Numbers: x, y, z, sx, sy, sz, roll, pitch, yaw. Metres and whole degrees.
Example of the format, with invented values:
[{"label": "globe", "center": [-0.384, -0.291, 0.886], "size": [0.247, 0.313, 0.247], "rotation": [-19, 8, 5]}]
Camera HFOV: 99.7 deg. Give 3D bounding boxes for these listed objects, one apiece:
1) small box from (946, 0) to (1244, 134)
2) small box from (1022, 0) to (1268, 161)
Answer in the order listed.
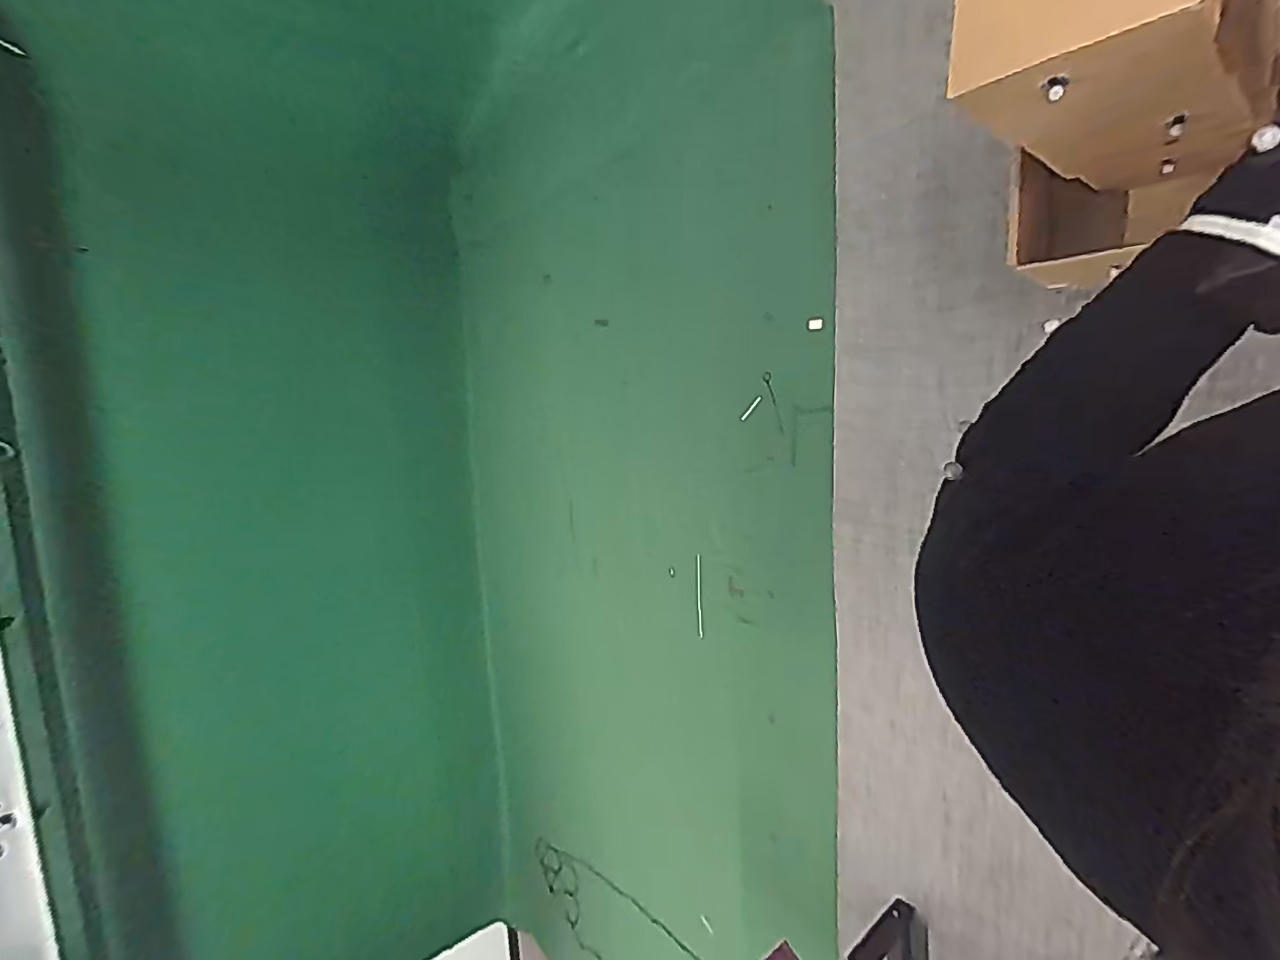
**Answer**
[{"label": "small box", "center": [0.413, -0.446, 0.489], "size": [0.179, 0.176, 0.168], "rotation": [14, 108, 51]}, {"label": "small box", "center": [0.545, -0.471, 0.585], "size": [0.168, 0.176, 0.179], "rotation": [10, 103, 52]}]
